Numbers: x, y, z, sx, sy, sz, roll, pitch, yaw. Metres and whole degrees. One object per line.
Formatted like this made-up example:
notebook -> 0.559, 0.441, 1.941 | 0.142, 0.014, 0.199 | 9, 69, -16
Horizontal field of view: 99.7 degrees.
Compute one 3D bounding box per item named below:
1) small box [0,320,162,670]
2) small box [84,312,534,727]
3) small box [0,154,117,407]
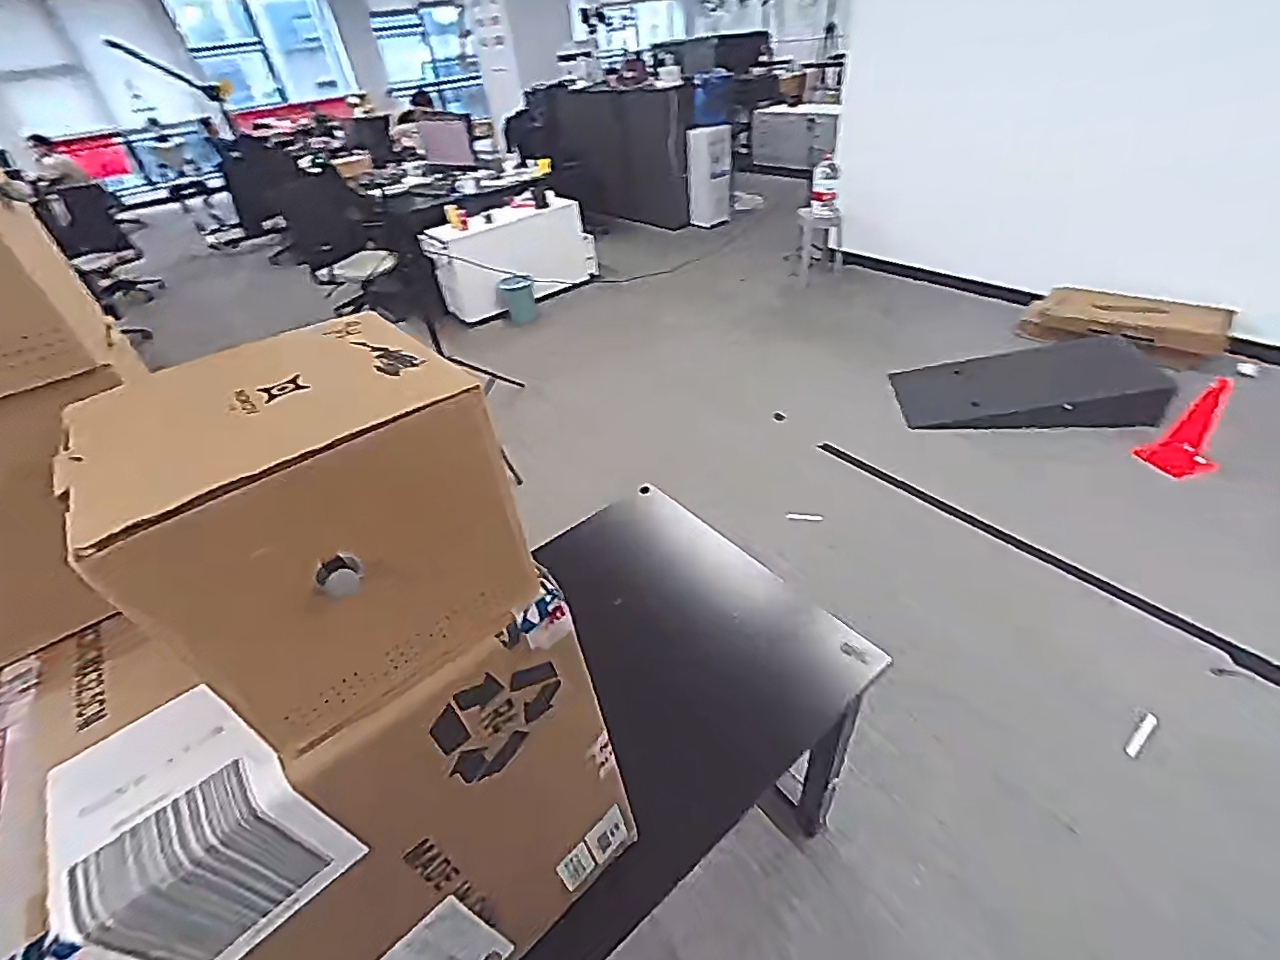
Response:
small box -> -0.440, 0.001, 0.412 | 0.179, 0.176, 0.168 | -33, 42, -28
small box -> -0.194, 0.018, 0.351 | 0.179, 0.176, 0.168 | -33, 47, -28
small box -> -0.454, -0.129, 0.311 | 0.168, 0.176, 0.179 | -32, 43, -28
